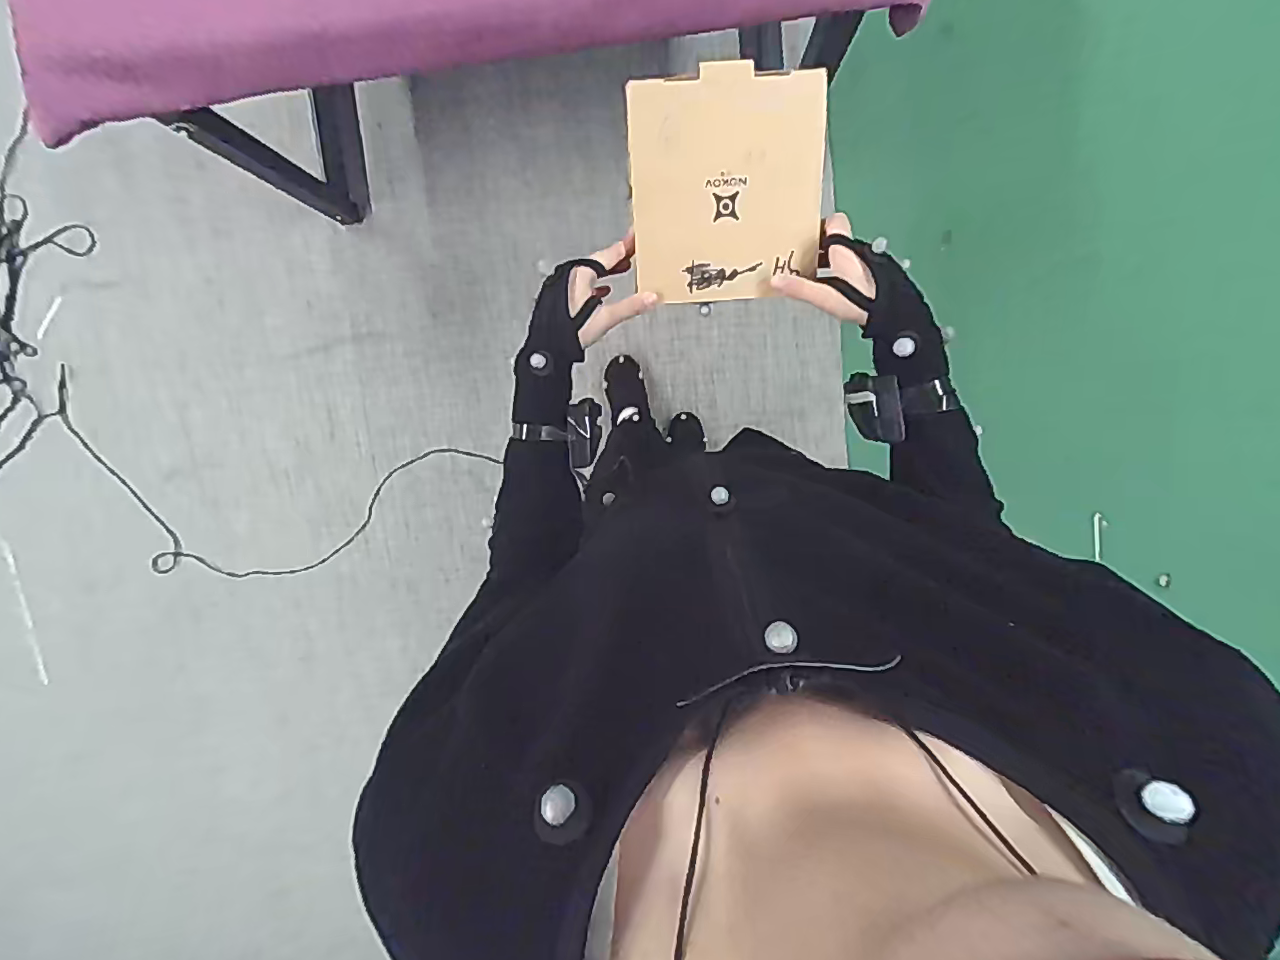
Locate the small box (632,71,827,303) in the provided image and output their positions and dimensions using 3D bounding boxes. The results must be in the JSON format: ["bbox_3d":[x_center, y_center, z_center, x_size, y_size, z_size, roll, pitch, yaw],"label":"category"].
[{"bbox_3d":[0.077,-0.277,0.545,0.168,0.176,0.179,-3,111,2],"label":"small box"}]

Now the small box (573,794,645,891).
[{"bbox_3d":[-0.085,1.021,1.529,0.179,0.176,0.168,-10,94,8],"label":"small box"}]

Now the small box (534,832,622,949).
[{"bbox_3d":[-0.151,1.028,1.371,0.168,0.176,0.179,-12,94,8],"label":"small box"}]
